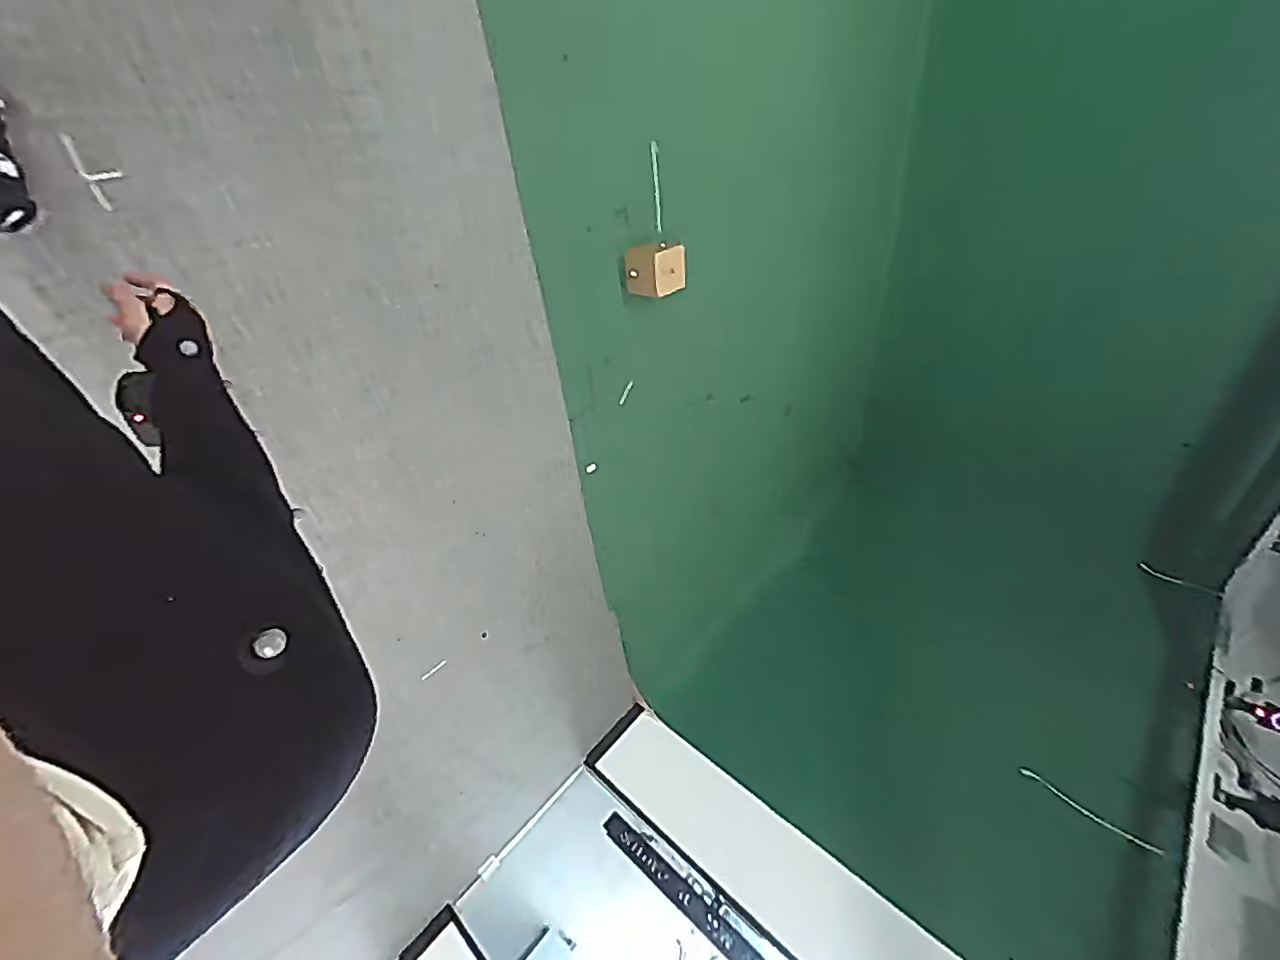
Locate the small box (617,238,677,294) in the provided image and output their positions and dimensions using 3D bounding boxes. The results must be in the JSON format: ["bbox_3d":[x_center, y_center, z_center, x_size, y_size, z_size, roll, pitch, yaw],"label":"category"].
[{"bbox_3d":[0.031,-0.865,2.172,0.179,0.176,0.168,-35,134,-35],"label":"small box"}]
